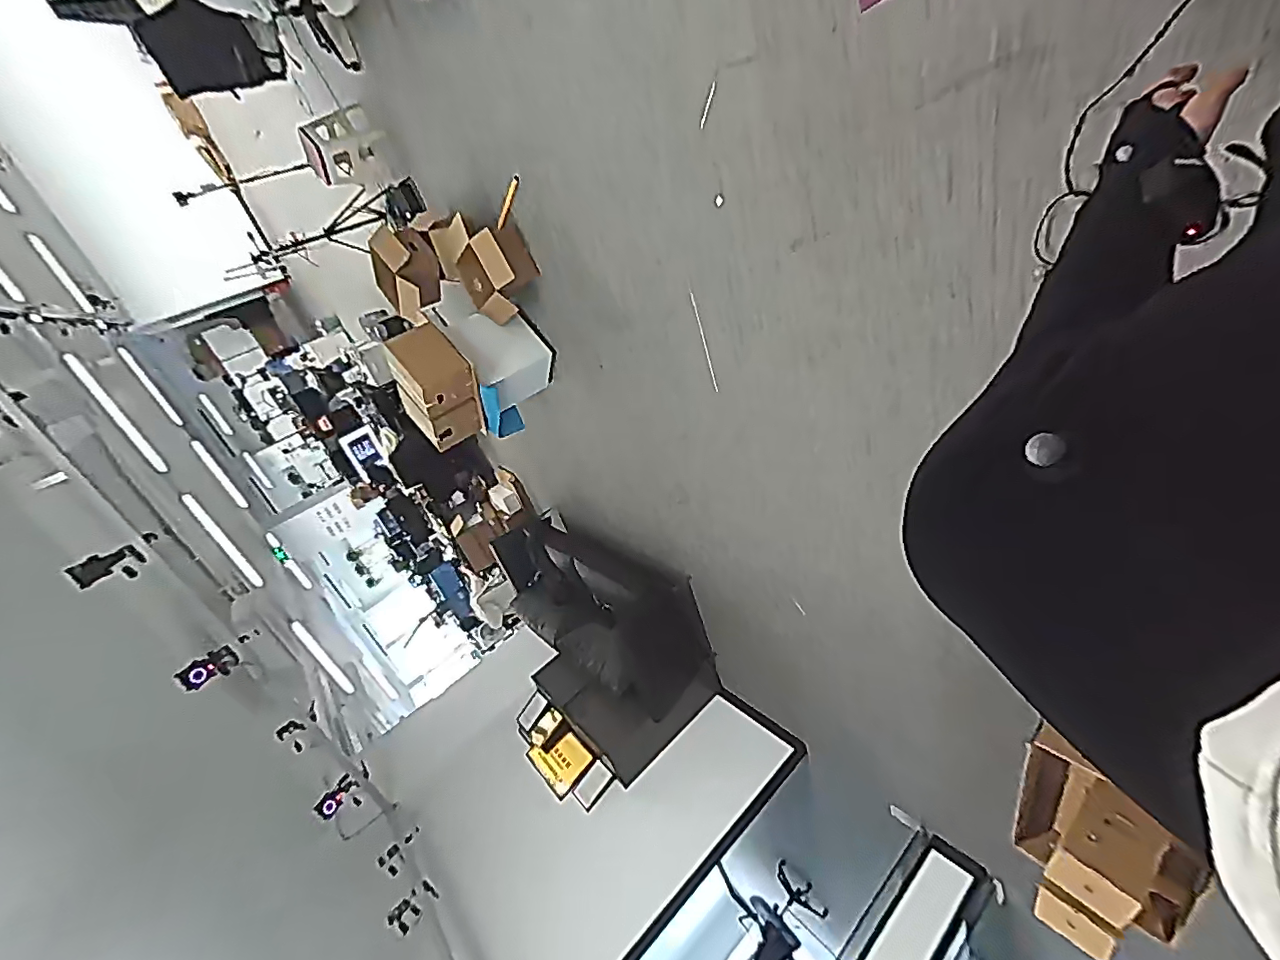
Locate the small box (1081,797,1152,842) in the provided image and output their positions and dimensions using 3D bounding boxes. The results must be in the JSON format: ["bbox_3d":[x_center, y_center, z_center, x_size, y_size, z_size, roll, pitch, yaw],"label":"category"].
[{"bbox_3d":[1.342,1.073,1.564,0.168,0.176,0.179,21,136,47],"label":"small box"}]

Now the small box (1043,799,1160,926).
[{"bbox_3d":[1.159,0.952,1.358,0.168,0.176,0.179,28,143,43],"label":"small box"}]

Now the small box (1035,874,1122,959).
[{"bbox_3d":[1.222,1.152,1.488,0.168,0.176,0.179,21,136,48],"label":"small box"}]
